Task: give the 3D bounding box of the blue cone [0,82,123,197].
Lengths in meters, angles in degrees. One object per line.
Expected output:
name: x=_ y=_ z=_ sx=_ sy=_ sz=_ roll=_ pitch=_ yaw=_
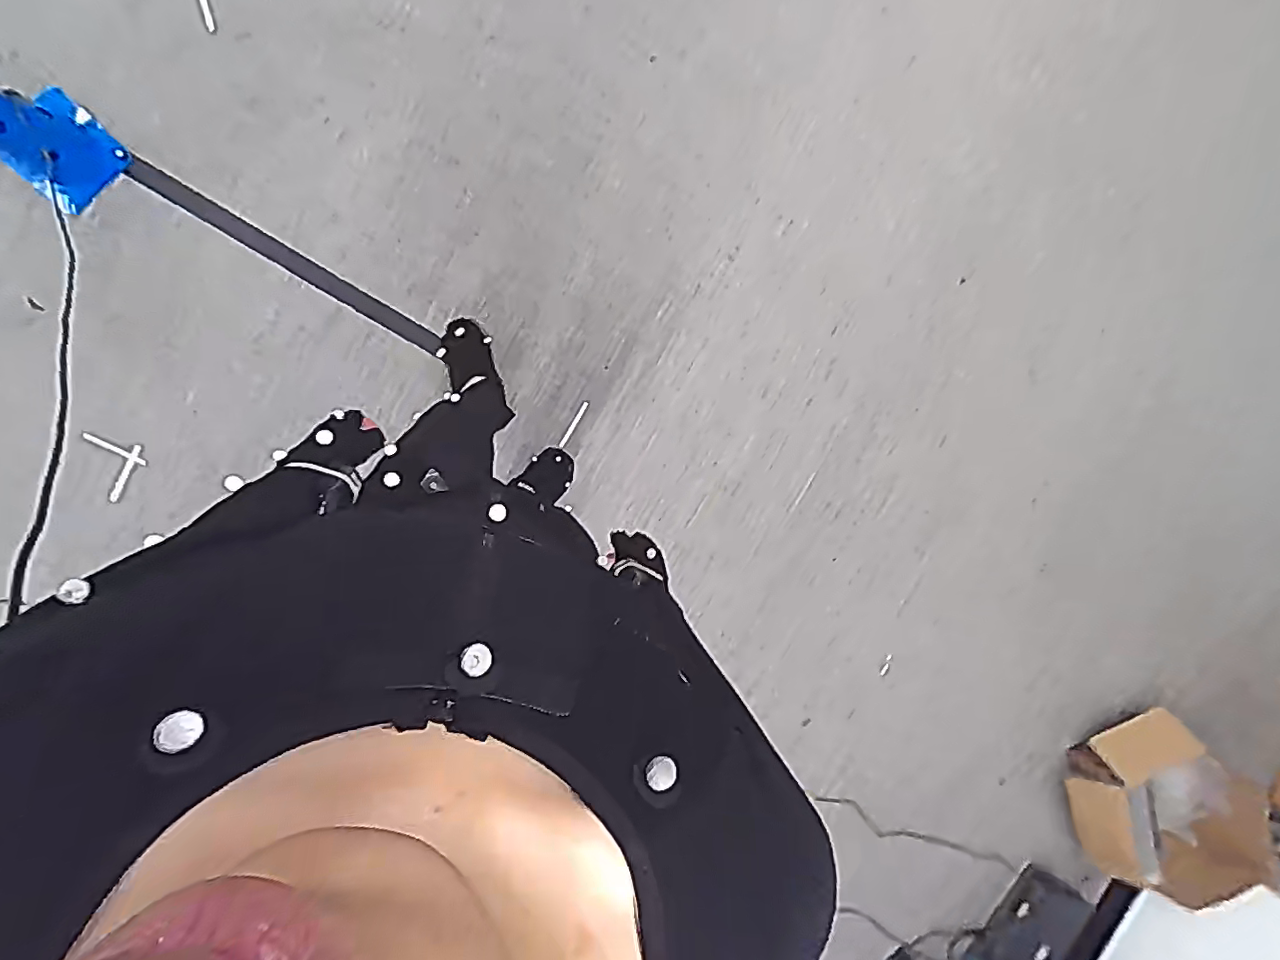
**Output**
blue cone: x=-1.233 y=-0.710 z=1.010 sx=0.192 sy=0.380 sz=0.193 roll=-44 pitch=103 yaw=-2
